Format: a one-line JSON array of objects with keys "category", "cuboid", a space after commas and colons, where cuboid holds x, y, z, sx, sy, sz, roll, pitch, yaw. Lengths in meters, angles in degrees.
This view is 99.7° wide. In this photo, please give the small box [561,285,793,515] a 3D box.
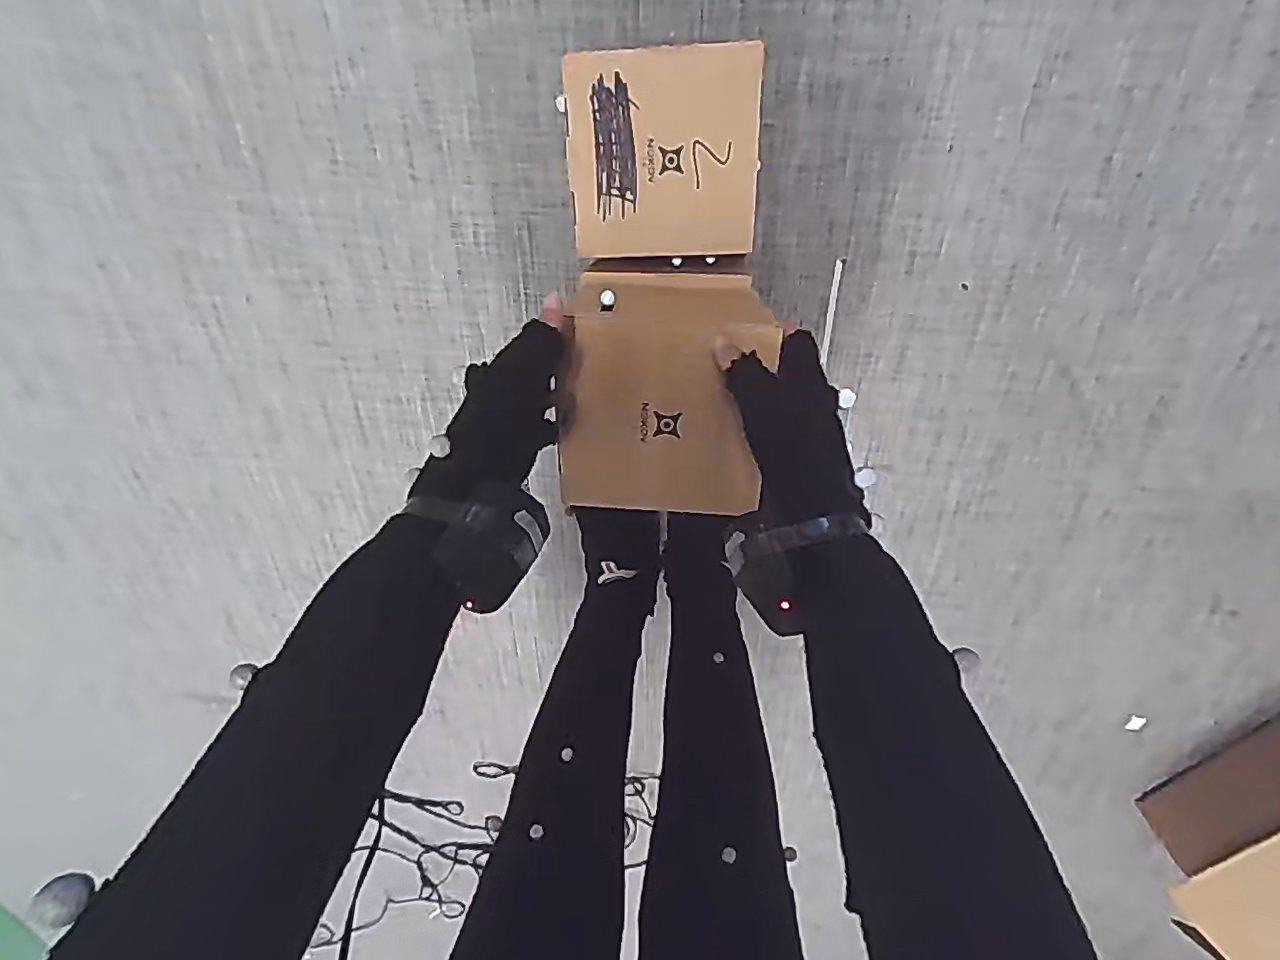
[{"category": "small box", "cuboid": [0.029, -0.083, 0.508, 0.179, 0.176, 0.168, 4, 118, 3]}]
